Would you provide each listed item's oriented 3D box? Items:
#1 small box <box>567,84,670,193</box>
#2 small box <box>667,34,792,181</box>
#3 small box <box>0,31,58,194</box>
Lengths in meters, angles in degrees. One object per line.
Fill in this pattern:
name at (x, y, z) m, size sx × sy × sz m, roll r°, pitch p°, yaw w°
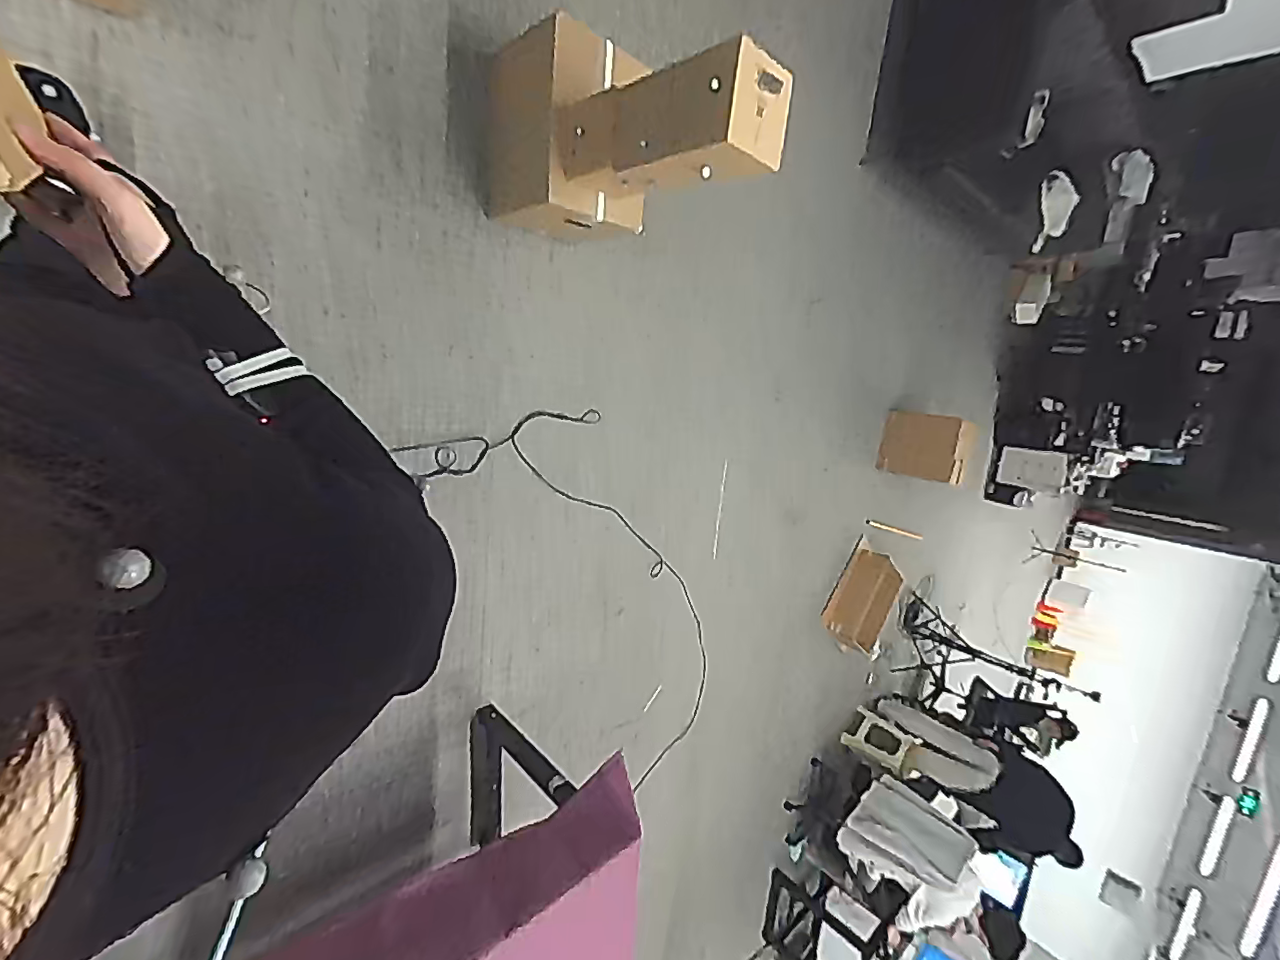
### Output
small box at (-0.054, -0.804, 1.295) m, size 0.179 × 0.176 × 0.168 m, roll -7°, pitch 108°, yaw -42°
small box at (0.172, -0.720, 1.070) m, size 0.168 × 0.176 × 0.179 m, roll -3°, pitch 106°, yaw -43°
small box at (-0.452, -0.243, 0.266) m, size 0.168 × 0.176 × 0.179 m, roll -24°, pitch 135°, yaw -24°
